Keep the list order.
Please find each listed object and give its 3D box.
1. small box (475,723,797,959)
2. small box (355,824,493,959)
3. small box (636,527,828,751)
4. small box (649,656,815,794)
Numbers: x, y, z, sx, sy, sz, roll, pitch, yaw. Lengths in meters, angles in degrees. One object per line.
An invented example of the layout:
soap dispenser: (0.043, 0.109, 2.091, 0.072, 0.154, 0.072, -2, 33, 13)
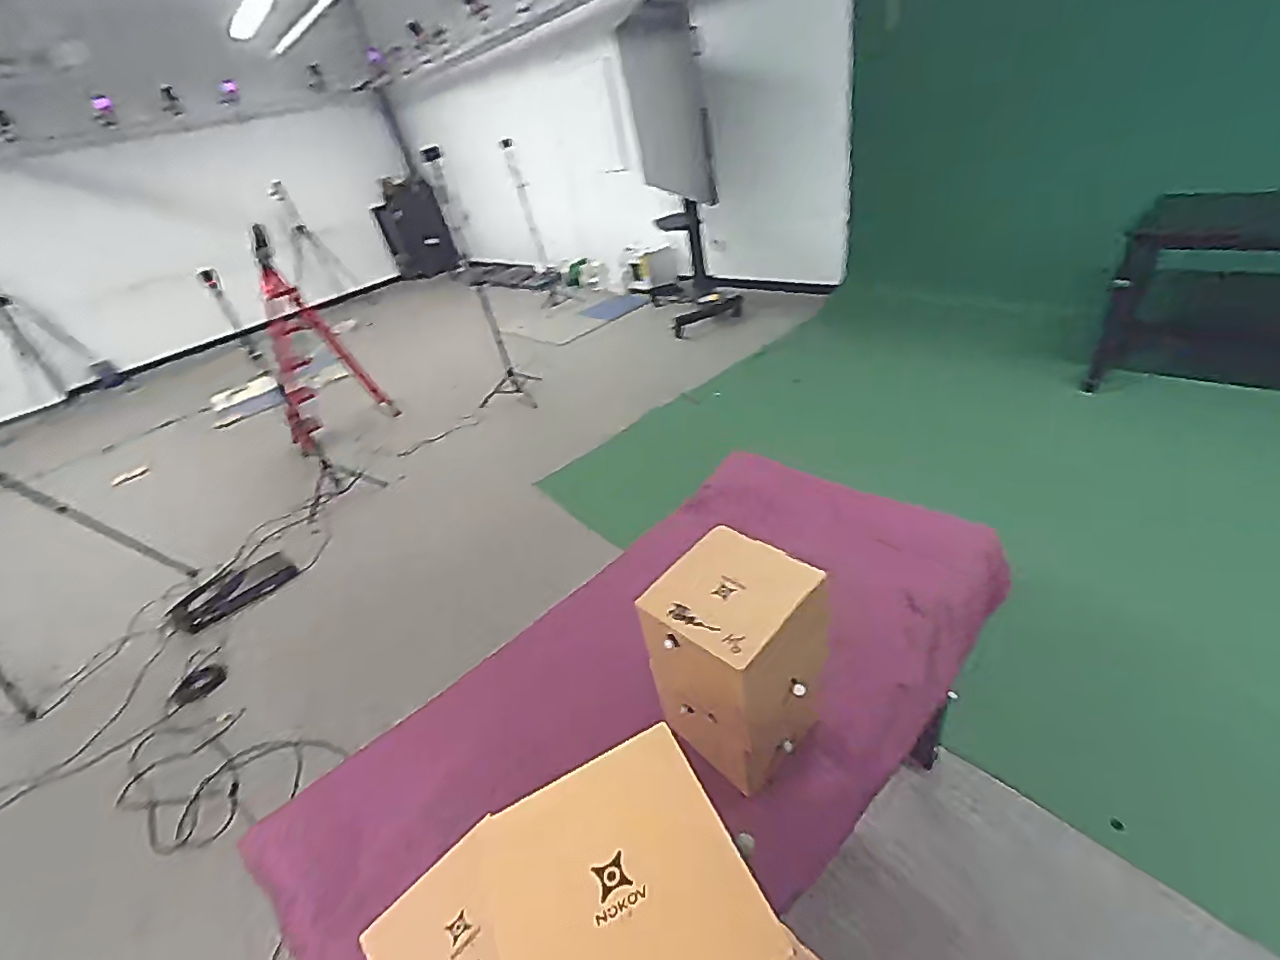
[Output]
small box: (-0.002, 0.327, 0.391, 0.168, 0.176, 0.179, -23, 33, -14)
small box: (-0.170, 0.533, 0.590, 0.168, 0.176, 0.179, -36, 38, -29)
small box: (0.121, 0.196, 0.693, 0.179, 0.176, 0.168, -36, 39, -30)
small box: (0.140, 0.317, 0.805, 0.168, 0.176, 0.179, -34, 38, -27)
